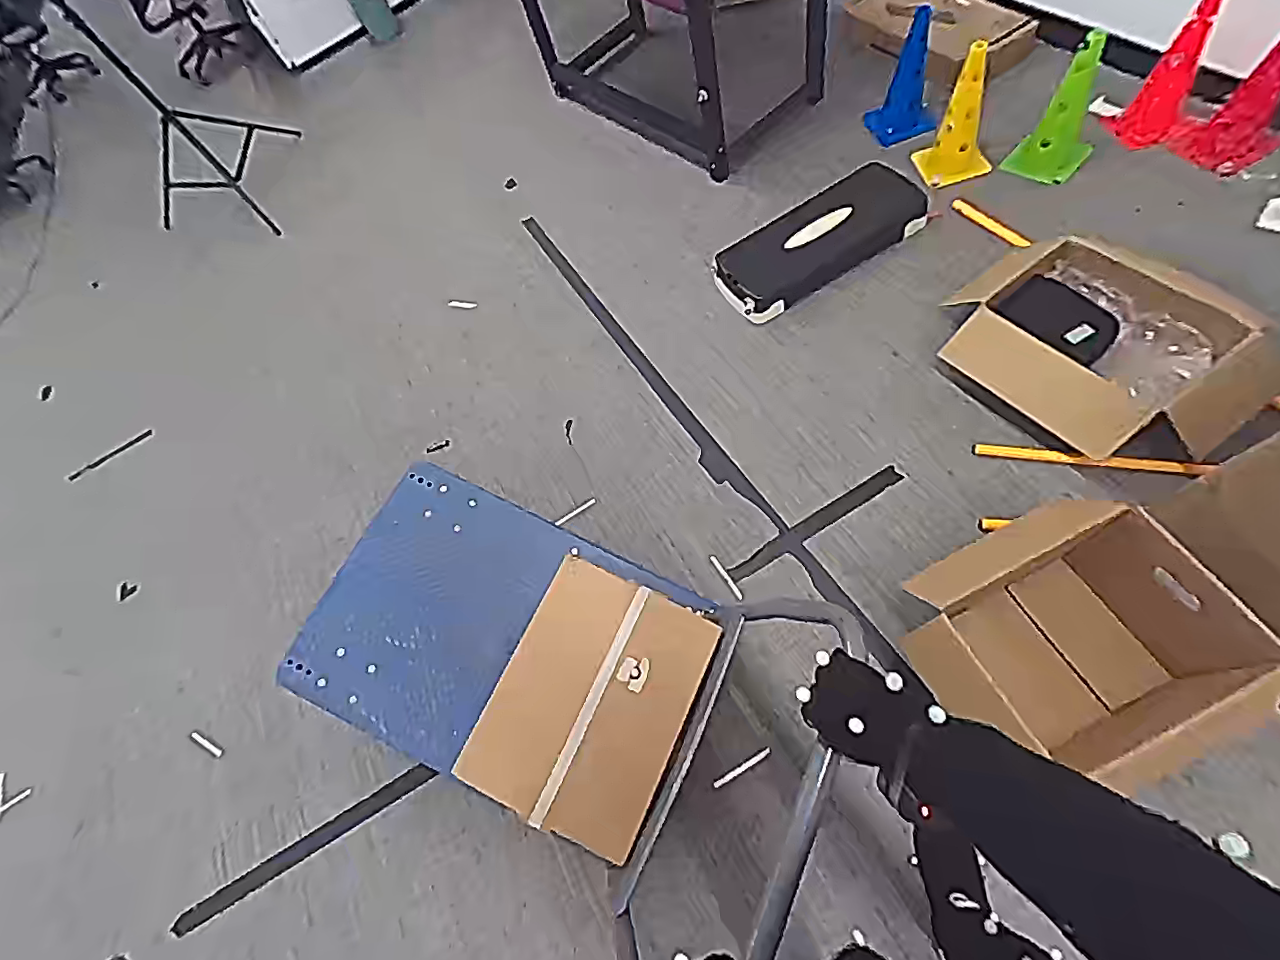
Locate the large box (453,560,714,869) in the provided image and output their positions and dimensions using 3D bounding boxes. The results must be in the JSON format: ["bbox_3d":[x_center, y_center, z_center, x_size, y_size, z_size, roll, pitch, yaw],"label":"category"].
[{"bbox_3d":[-0.091,0.425,1.049,0.320,0.320,0.408,25,71,5],"label":"large box"}]
